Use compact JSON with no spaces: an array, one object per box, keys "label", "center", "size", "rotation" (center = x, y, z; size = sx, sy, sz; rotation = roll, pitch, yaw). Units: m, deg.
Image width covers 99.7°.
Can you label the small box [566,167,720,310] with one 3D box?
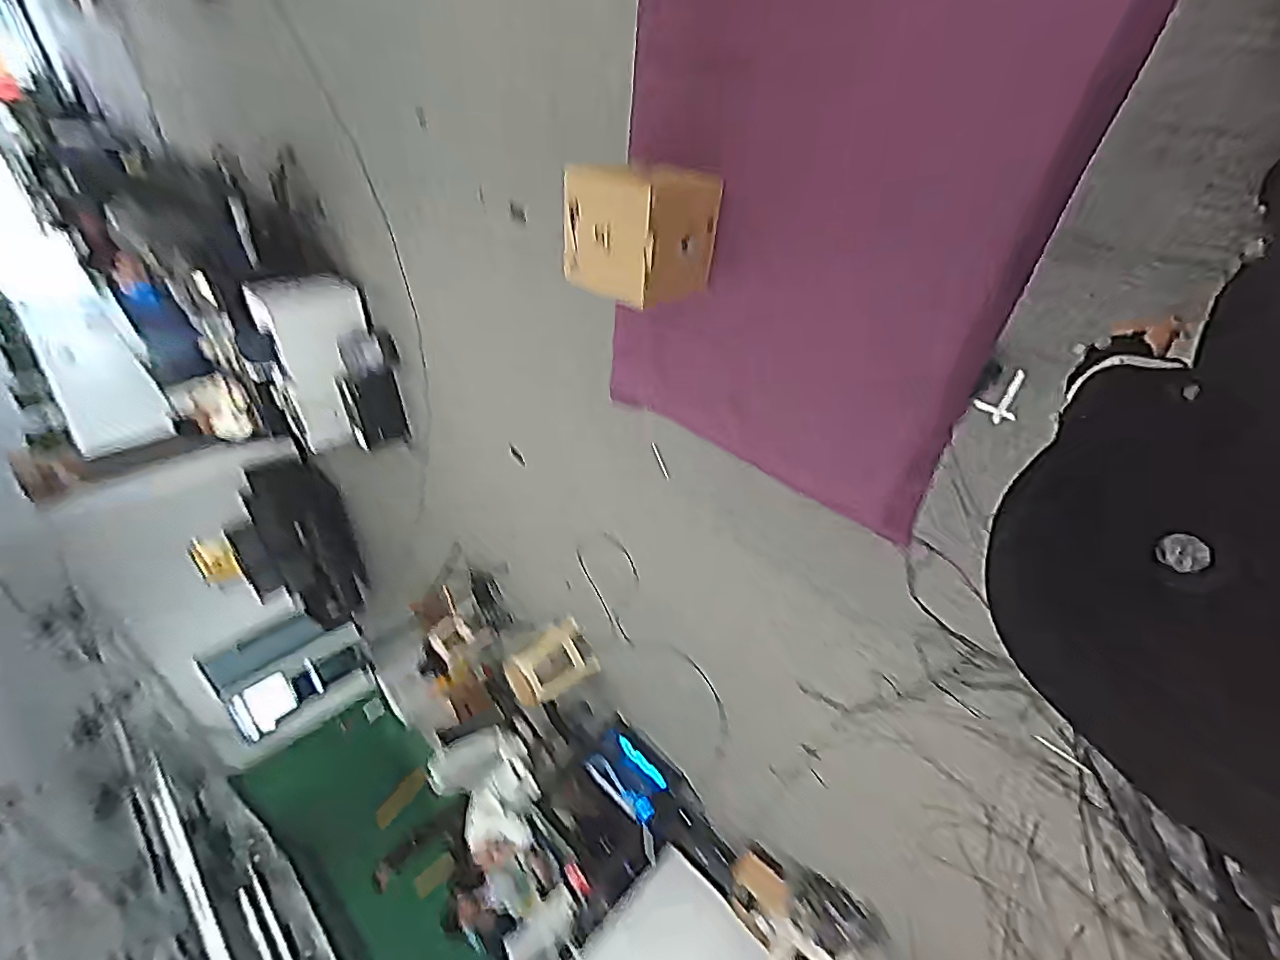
[{"label":"small box","center":[0.004,-0.388,0.852],"size":[0.179,0.176,0.168],"rotation":[30,133,29]}]
